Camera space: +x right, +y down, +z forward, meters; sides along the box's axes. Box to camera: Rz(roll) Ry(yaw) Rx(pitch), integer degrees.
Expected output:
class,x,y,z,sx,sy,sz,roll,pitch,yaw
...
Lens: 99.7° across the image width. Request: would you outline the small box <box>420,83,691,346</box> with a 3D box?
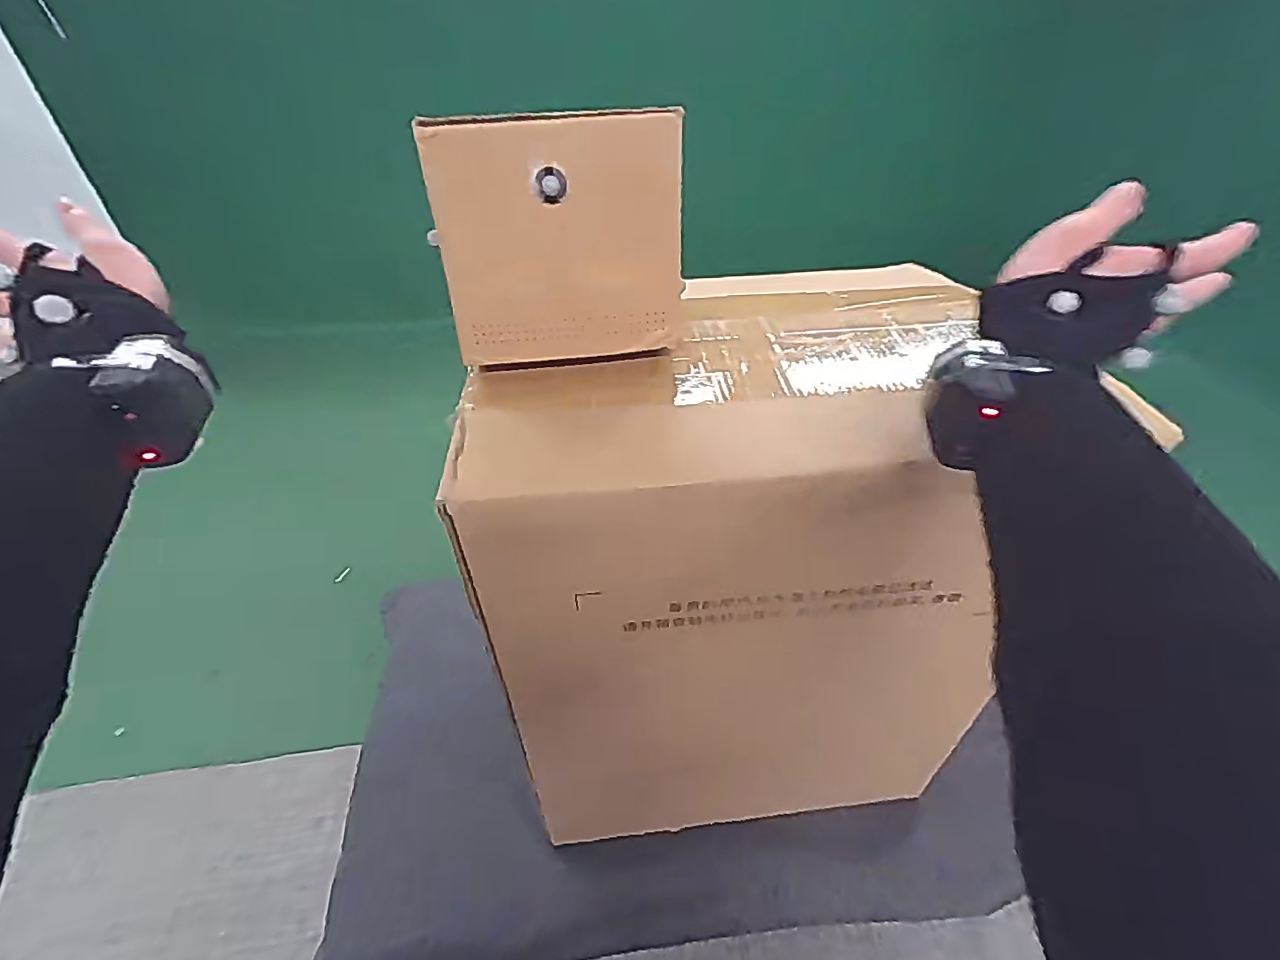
class,x,y,z,sx,sy,sz,roll,pitch,yaw
small box,-0.061,-0.217,0.450,0.179,0.176,0.168,-5,33,-8
